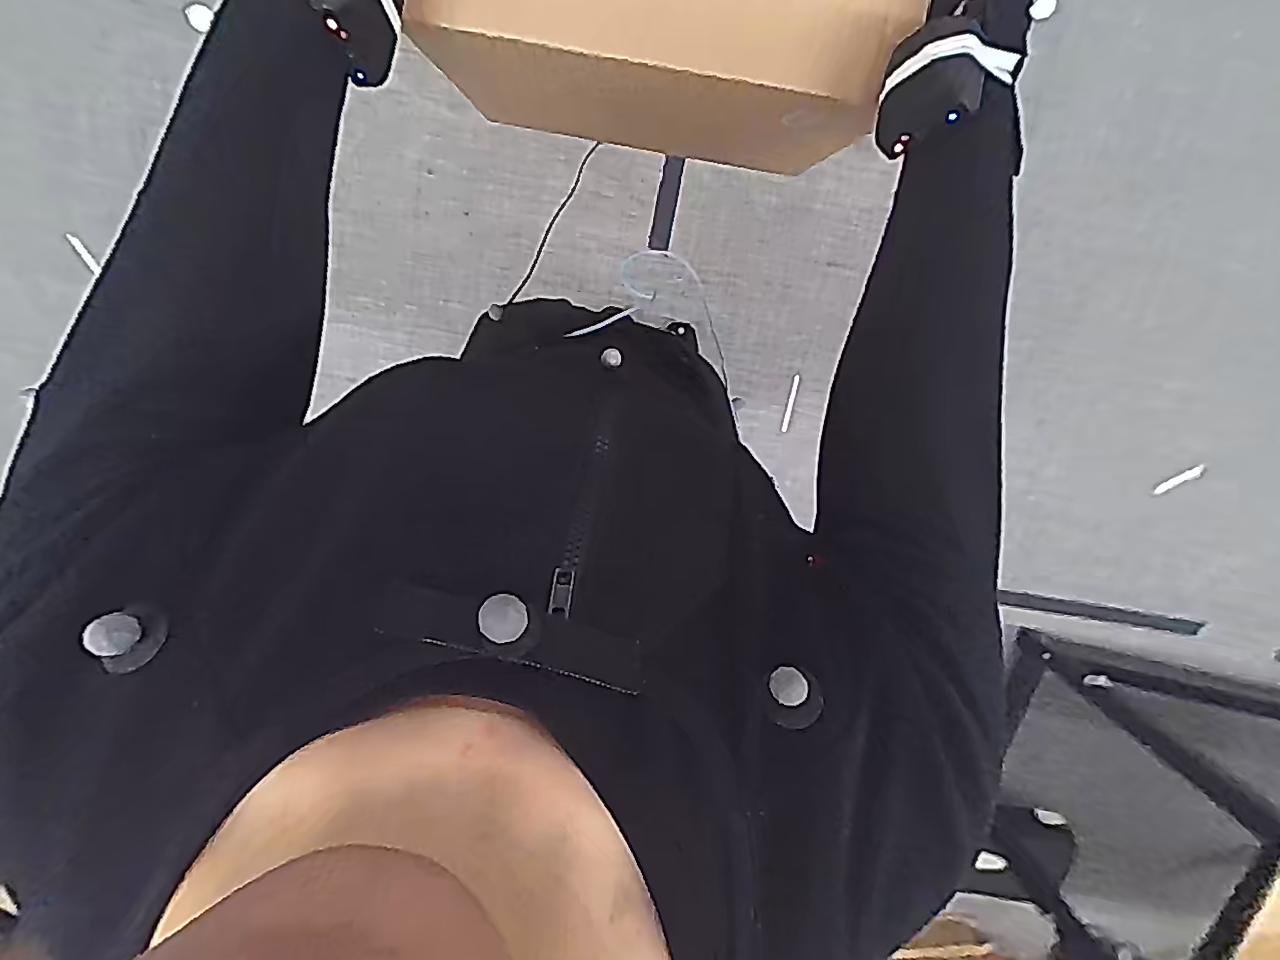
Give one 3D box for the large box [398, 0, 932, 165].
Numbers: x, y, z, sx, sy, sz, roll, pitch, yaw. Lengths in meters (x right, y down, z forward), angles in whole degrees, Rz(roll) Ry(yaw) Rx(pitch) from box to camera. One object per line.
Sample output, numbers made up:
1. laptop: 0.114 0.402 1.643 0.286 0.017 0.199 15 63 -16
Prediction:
1. large box: 0.030 -0.516 0.498 0.408 0.320 0.320 7 112 -4
